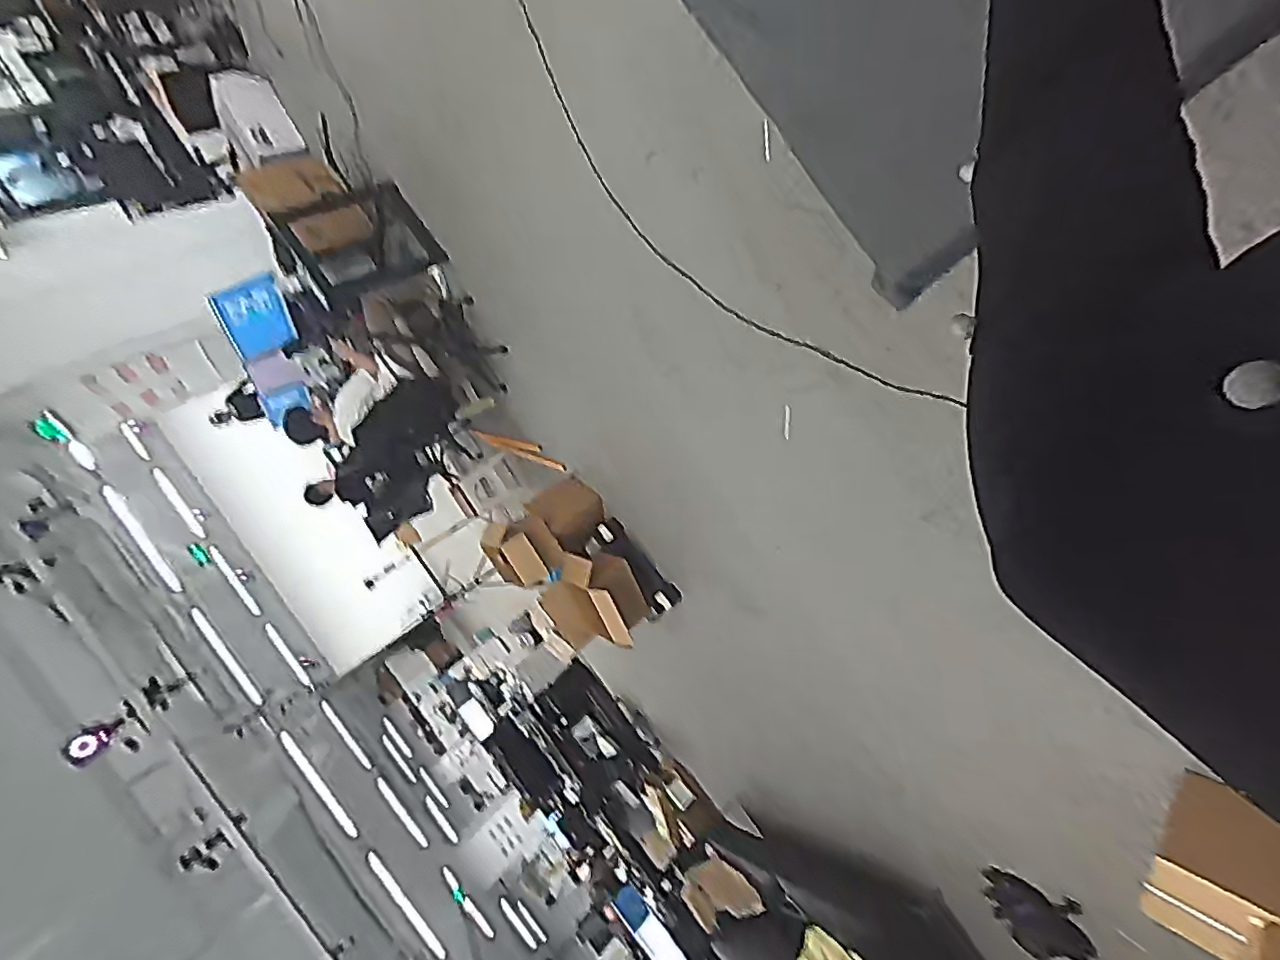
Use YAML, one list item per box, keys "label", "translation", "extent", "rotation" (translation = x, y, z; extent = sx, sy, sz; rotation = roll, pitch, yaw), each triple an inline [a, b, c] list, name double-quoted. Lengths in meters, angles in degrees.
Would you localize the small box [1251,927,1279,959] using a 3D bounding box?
- label: "small box"
  translation: [1.496, 1.158, 1.197]
  extent: [0.179, 0.176, 0.168]
  rotation: [21, 138, 47]
